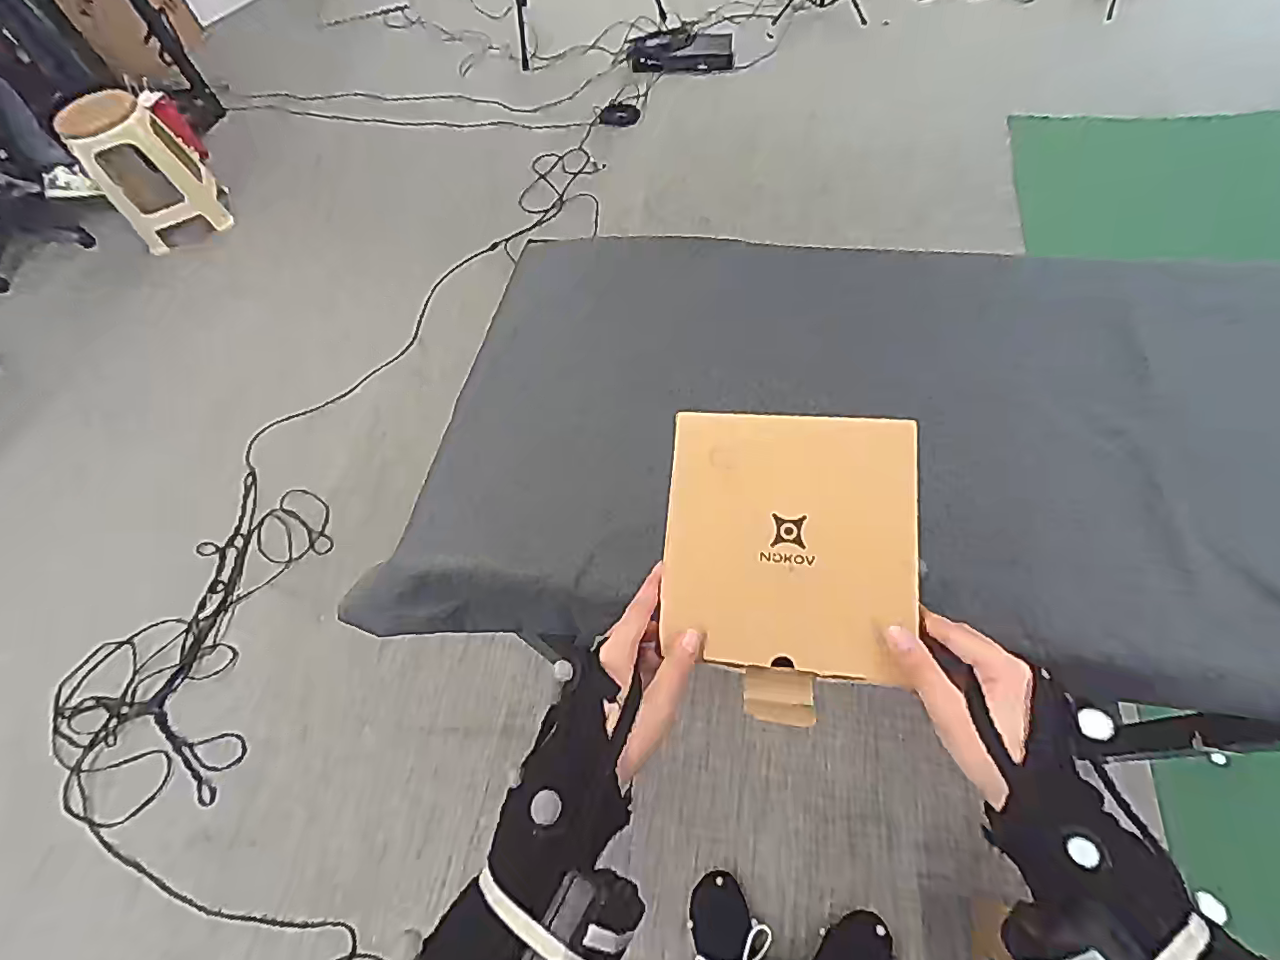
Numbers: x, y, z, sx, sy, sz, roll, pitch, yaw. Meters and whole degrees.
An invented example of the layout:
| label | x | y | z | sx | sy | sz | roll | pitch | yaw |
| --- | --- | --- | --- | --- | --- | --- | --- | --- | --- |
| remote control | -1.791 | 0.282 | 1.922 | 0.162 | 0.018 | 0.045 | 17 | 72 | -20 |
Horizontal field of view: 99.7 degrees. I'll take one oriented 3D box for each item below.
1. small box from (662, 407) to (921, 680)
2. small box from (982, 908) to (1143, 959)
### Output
| label | x | y | z | sx | sy | sz | roll | pitch | yaw |
| --- | --- | --- | --- | --- | --- | --- | --- | --- | --- |
| small box | 0.114 | 0.054 | 0.443 | 0.168 | 0.176 | 0.179 | 3 | 77 | 10 |
| small box | 0.685 | 0.823 | 0.880 | 0.179 | 0.176 | 0.168 | 5 | 60 | 10 |
